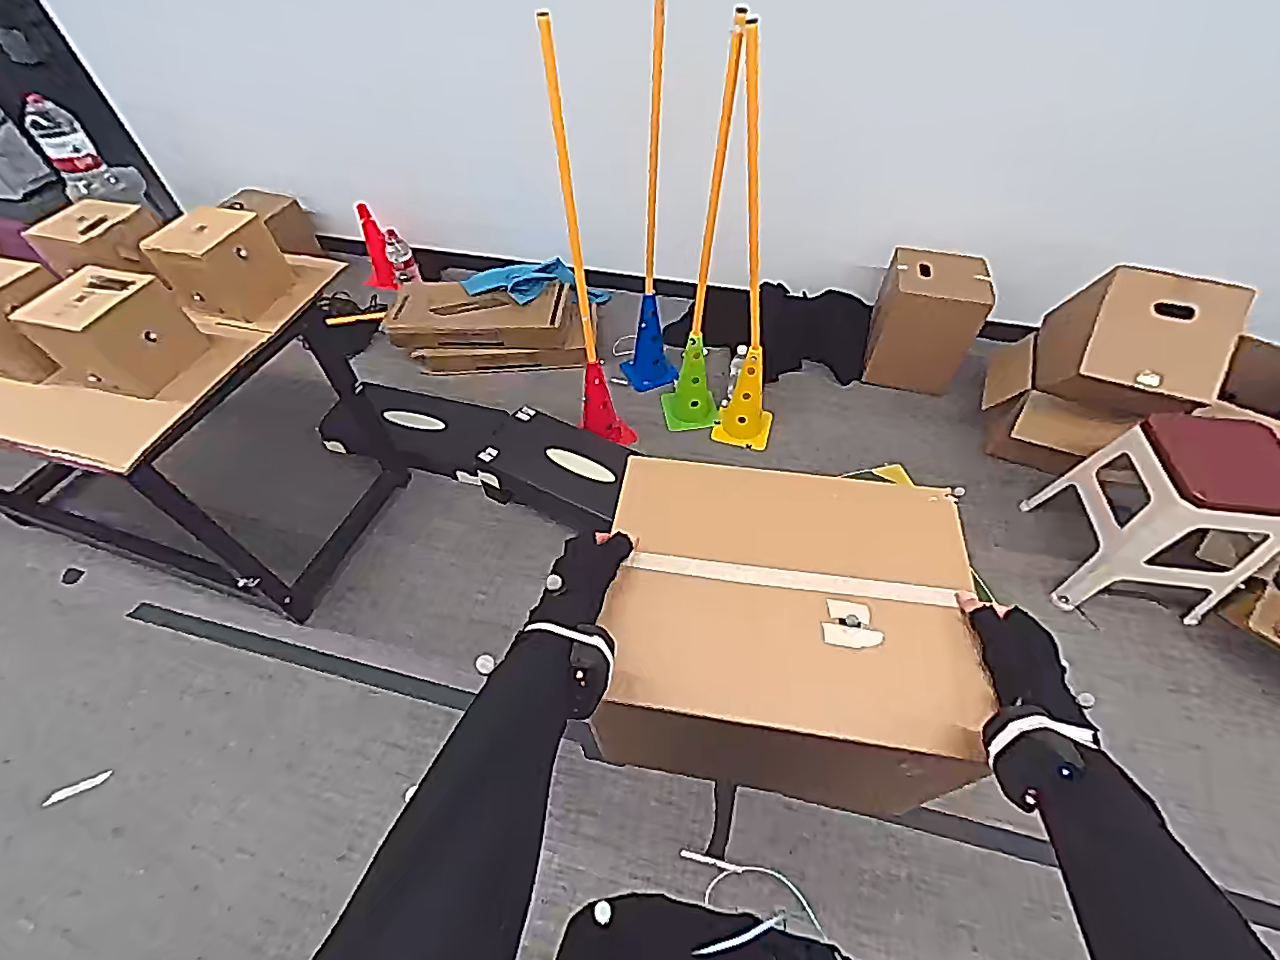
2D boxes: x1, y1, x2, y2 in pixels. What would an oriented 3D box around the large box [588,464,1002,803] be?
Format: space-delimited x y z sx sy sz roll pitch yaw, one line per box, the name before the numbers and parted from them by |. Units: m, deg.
large box | 0.168 0.207 0.728 0.408 0.320 0.320 7 53 8
